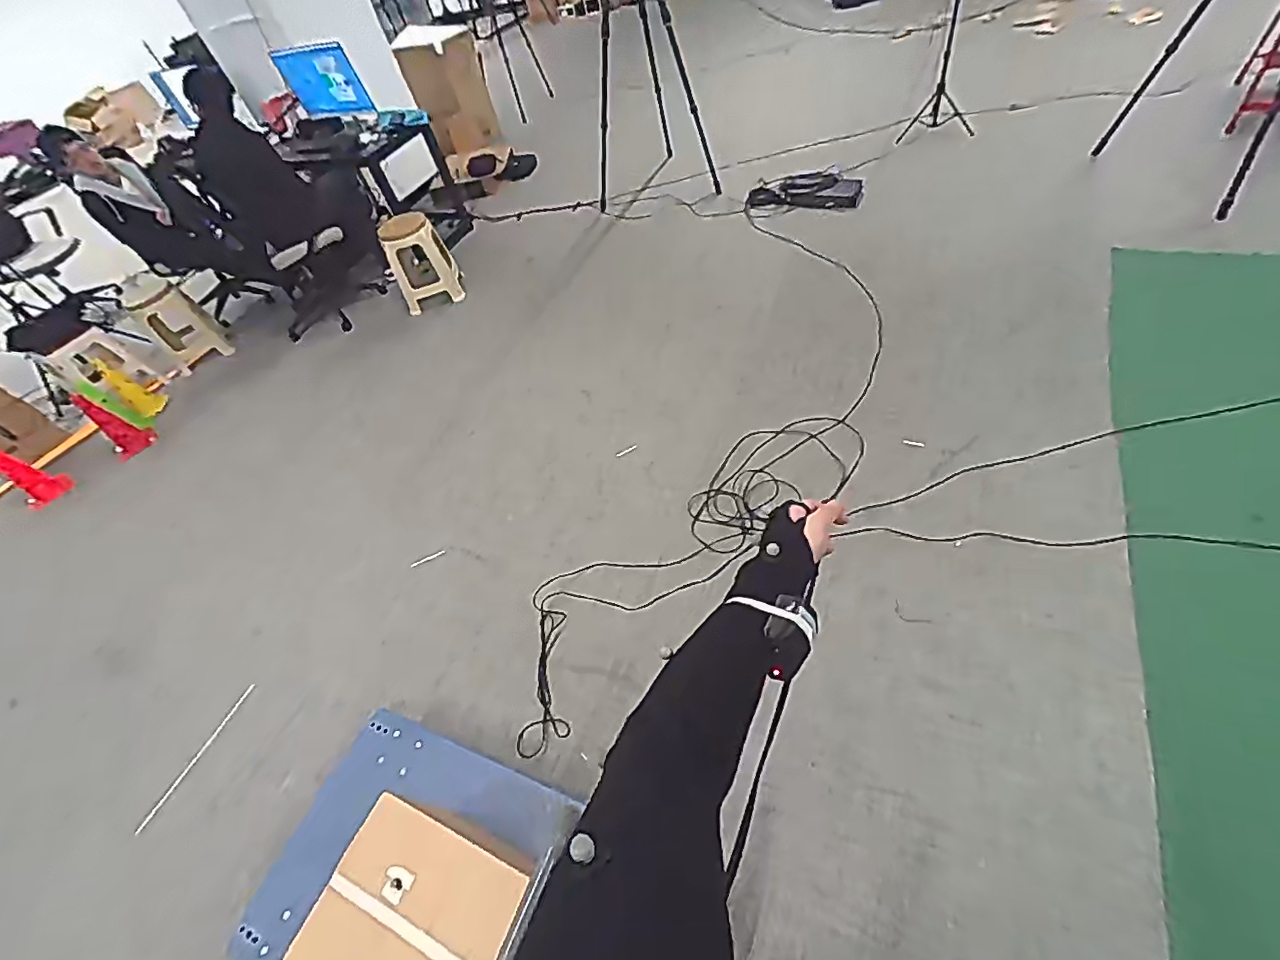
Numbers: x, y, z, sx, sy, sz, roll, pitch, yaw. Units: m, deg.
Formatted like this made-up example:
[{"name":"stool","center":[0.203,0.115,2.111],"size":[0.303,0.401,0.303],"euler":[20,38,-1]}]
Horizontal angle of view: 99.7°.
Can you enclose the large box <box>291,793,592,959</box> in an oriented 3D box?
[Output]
[{"name":"large box","center":[-0.364,0.887,1.070],"size":[0.408,0.320,0.320],"euler":[13,55,24]}]
